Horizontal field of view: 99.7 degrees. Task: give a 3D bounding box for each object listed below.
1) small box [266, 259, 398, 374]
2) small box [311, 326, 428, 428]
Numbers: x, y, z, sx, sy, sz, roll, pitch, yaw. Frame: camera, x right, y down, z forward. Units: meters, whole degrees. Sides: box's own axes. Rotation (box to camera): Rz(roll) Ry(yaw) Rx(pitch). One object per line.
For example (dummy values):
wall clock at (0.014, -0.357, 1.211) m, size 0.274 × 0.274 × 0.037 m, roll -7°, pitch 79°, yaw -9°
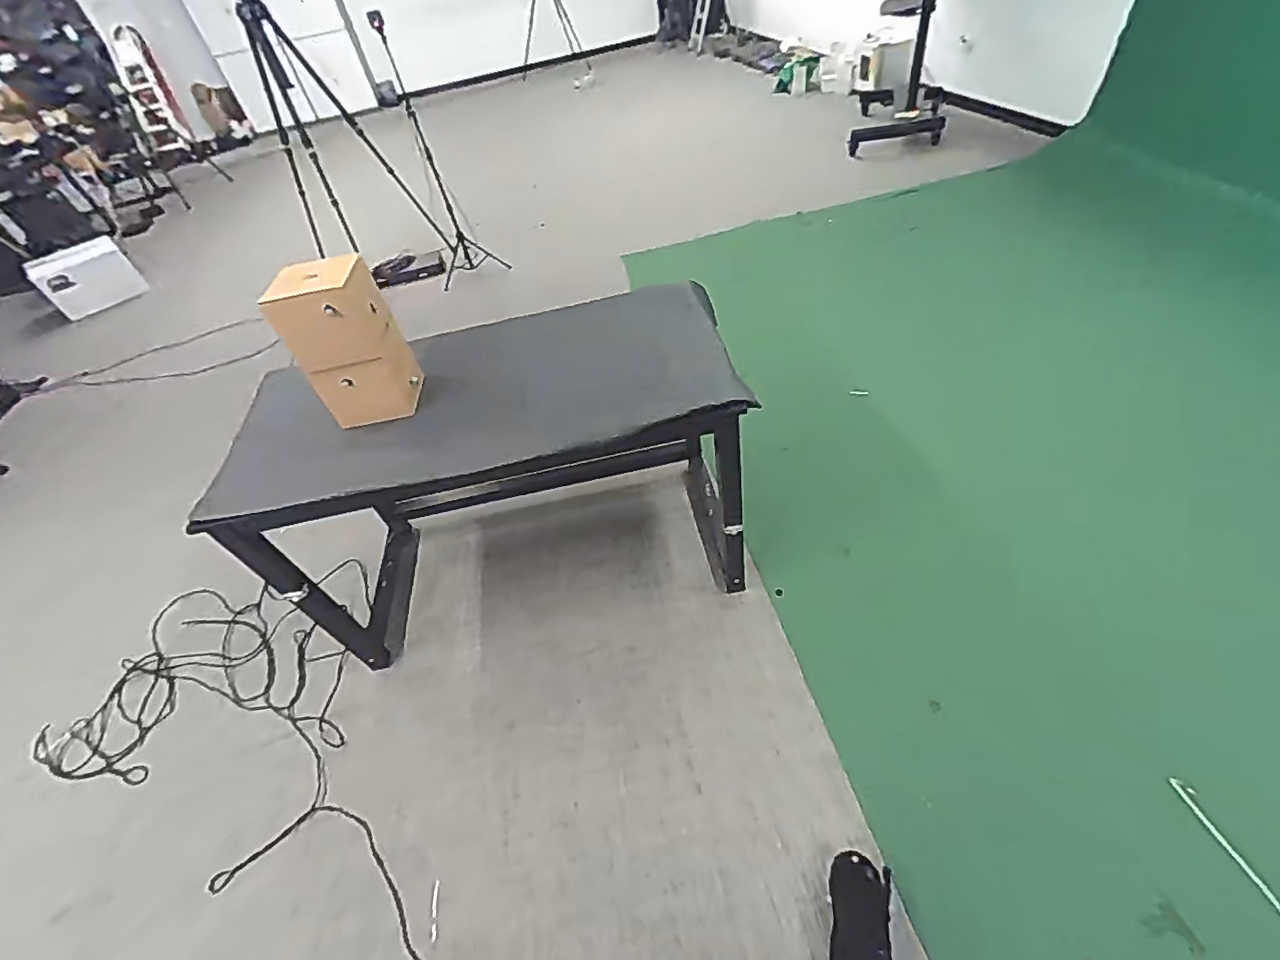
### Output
small box at (-0.657, -0.355, 1.182) m, size 0.179 × 0.176 × 0.168 m, roll -11°, pitch 45°, yaw 0°
small box at (-0.641, -0.244, 1.303) m, size 0.179 × 0.176 × 0.168 m, roll -10°, pitch 45°, yaw 1°
